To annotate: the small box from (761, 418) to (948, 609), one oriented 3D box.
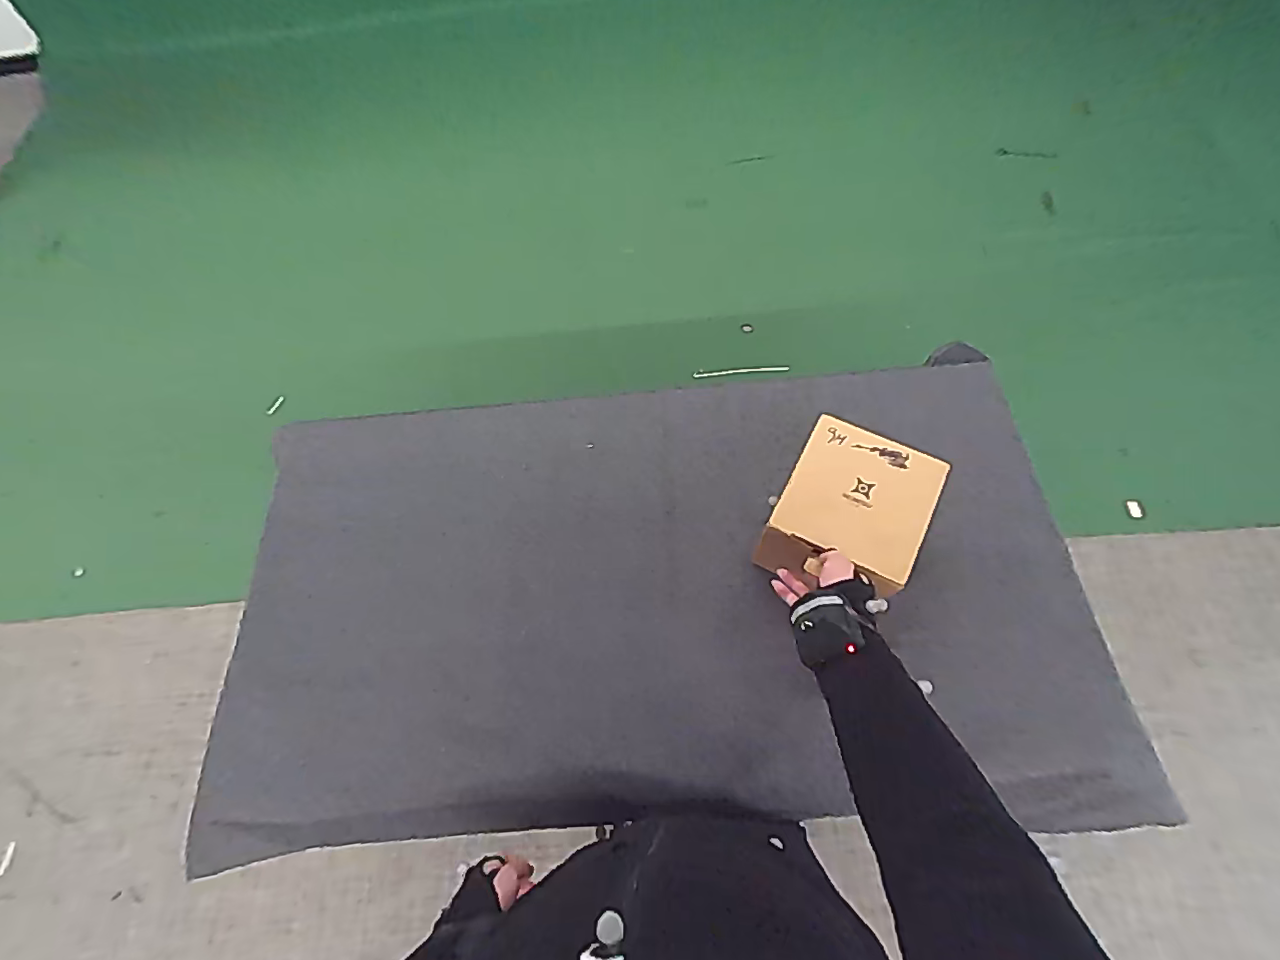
[{"bbox_3d":[0.274,0.054,0.731,0.168,0.176,0.179,26,71,15],"label":"small box"}]
